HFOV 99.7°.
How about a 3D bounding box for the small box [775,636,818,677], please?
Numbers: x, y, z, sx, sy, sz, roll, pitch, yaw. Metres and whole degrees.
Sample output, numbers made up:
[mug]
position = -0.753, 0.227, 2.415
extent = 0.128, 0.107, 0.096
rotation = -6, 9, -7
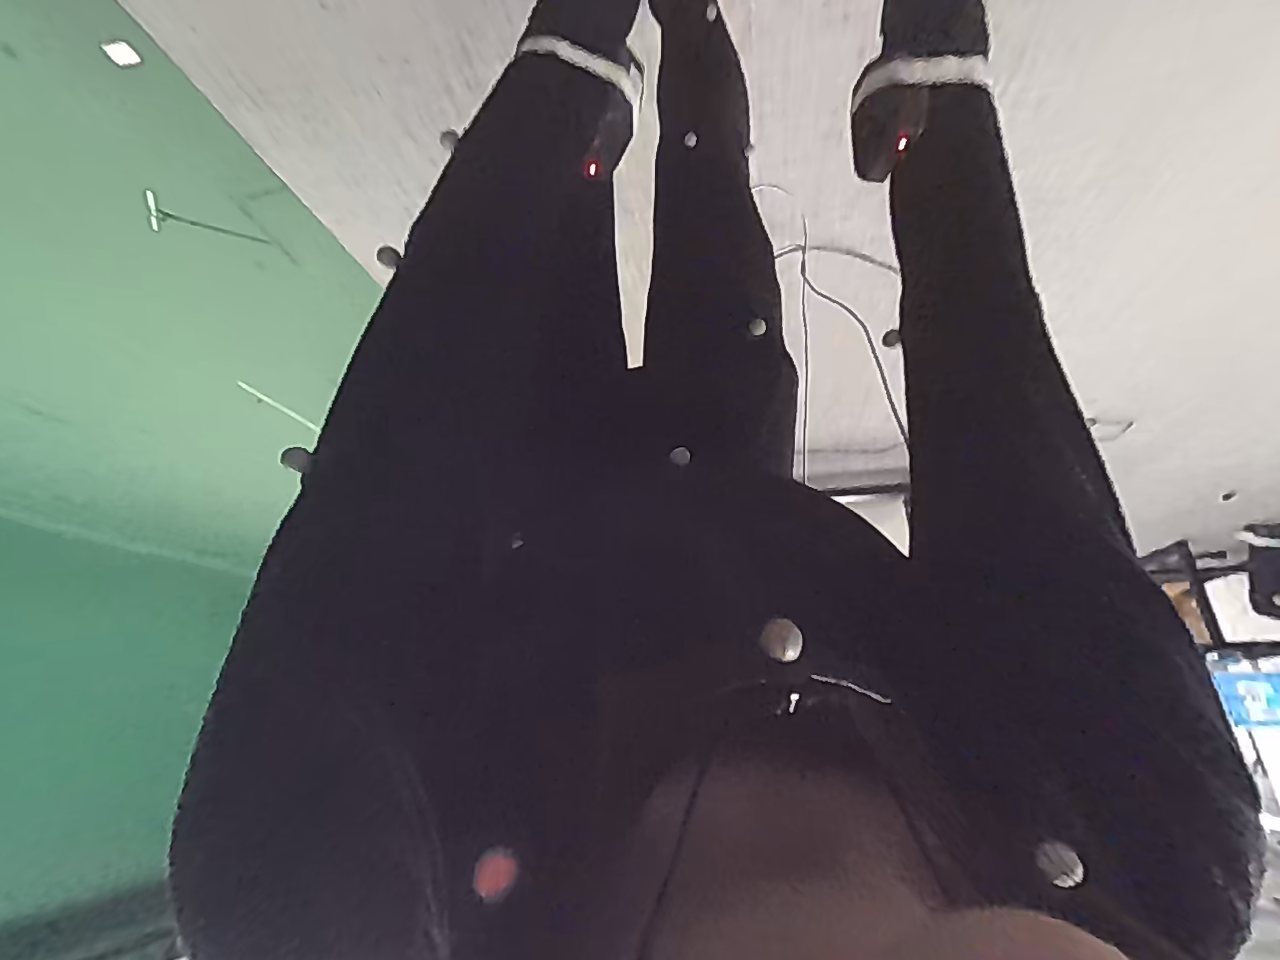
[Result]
[small box]
position = 0.728, 0.827, 2.527
extent = 0.179, 0.176, 0.168
rotation = -4, 158, 10
